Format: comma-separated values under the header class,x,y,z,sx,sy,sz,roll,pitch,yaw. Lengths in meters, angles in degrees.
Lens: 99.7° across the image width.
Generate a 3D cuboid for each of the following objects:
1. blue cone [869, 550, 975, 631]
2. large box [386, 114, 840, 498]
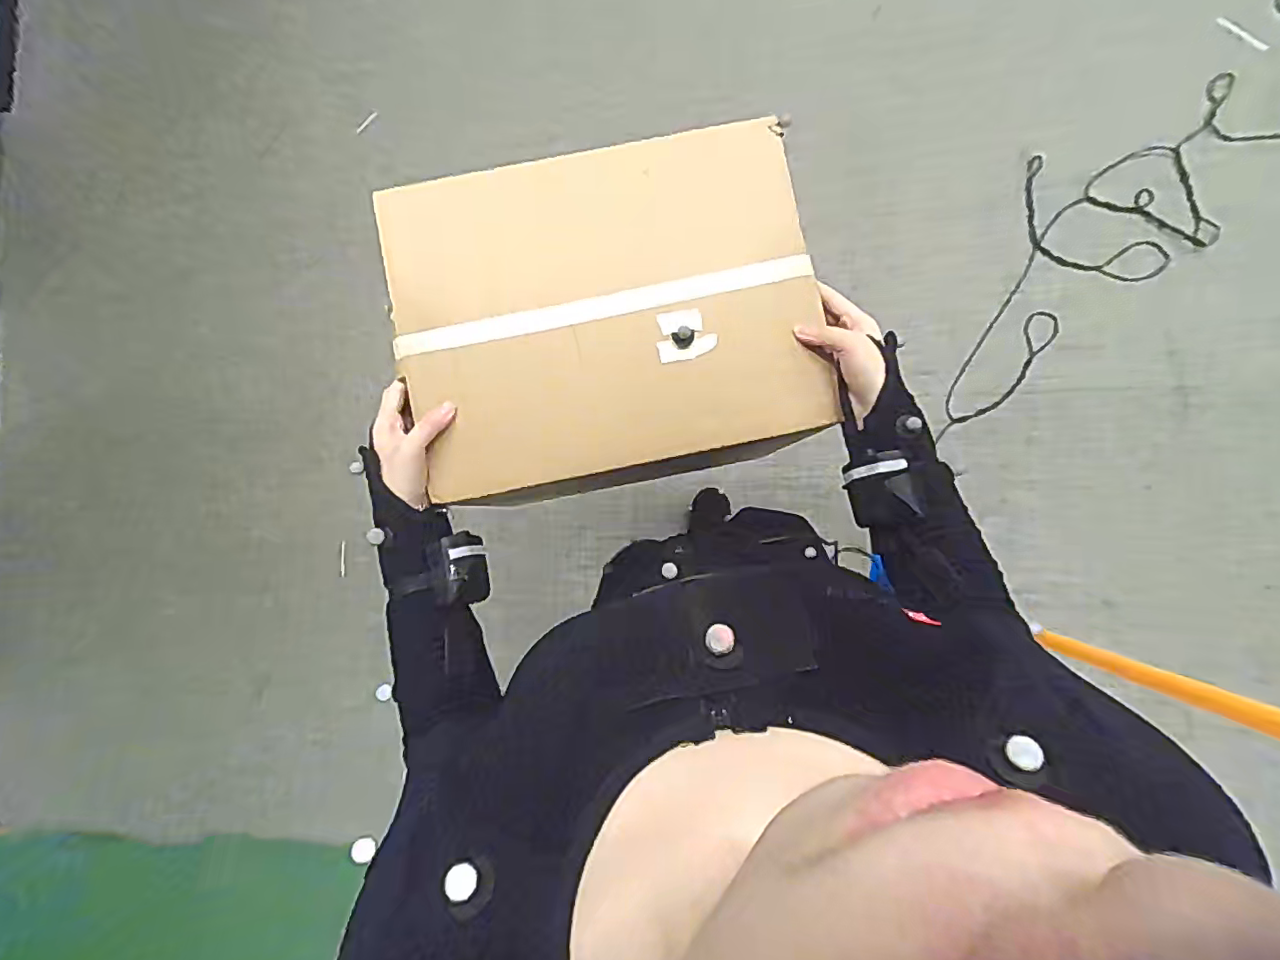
class,x,y,z,sx,sy,sz,roll,pitch,yaw
blue cone,0.668,0.276,1.236,0.193,0.380,0.192,8,89,10
large box,-0.032,-0.170,0.675,0.408,0.320,0.320,-11,88,-2
